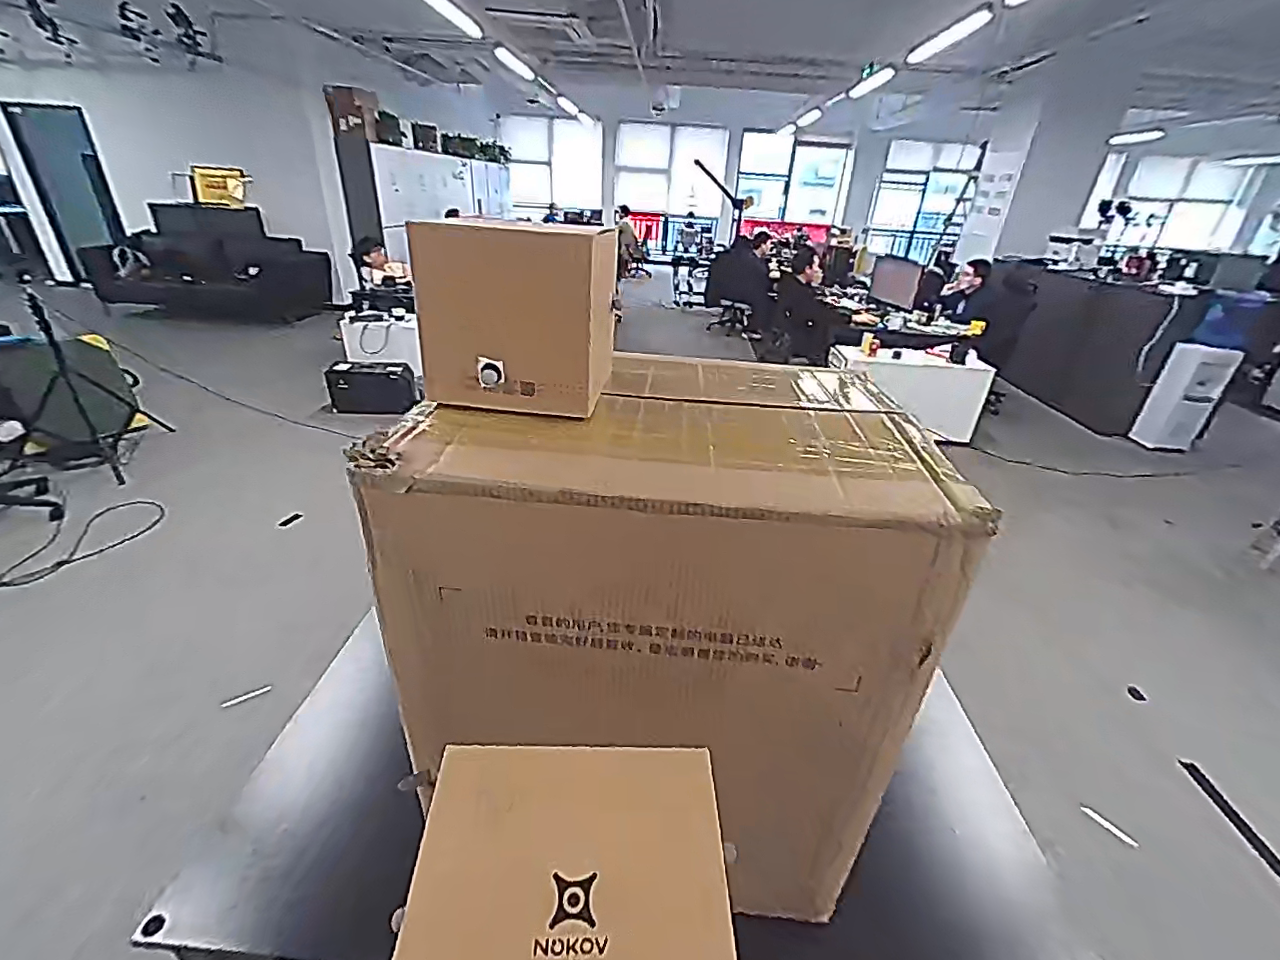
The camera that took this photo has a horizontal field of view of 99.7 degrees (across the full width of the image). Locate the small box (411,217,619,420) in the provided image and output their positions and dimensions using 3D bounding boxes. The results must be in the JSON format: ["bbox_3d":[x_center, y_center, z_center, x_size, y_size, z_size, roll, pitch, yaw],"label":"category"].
[{"bbox_3d":[-0.116,-0.175,0.567,0.168,0.176,0.179,4,28,2],"label":"small box"}]

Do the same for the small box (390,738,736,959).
[{"bbox_3d":[-0.042,0.279,0.317,0.168,0.176,0.179,3,39,-4],"label":"small box"}]
